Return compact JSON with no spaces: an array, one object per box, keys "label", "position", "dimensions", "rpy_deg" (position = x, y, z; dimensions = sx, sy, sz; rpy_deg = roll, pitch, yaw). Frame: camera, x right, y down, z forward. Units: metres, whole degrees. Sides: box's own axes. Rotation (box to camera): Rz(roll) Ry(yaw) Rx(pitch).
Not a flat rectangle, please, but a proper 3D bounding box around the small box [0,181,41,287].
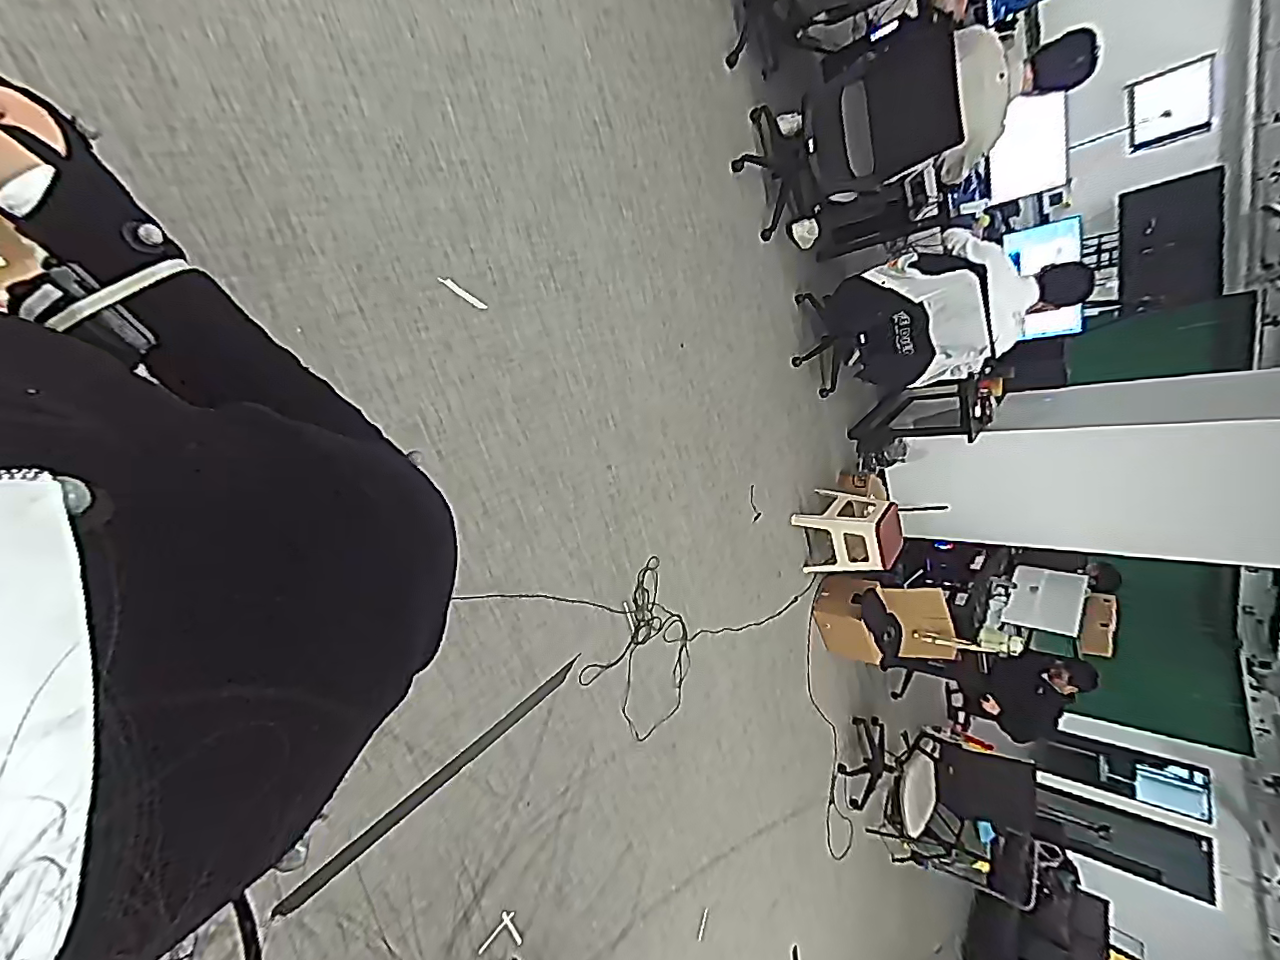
[{"label":"small box","position":[-0.813,-0.299,0.582],"dimensions":[0.179,0.176,0.168],"rpy_deg":[-35,116,-41]}]
